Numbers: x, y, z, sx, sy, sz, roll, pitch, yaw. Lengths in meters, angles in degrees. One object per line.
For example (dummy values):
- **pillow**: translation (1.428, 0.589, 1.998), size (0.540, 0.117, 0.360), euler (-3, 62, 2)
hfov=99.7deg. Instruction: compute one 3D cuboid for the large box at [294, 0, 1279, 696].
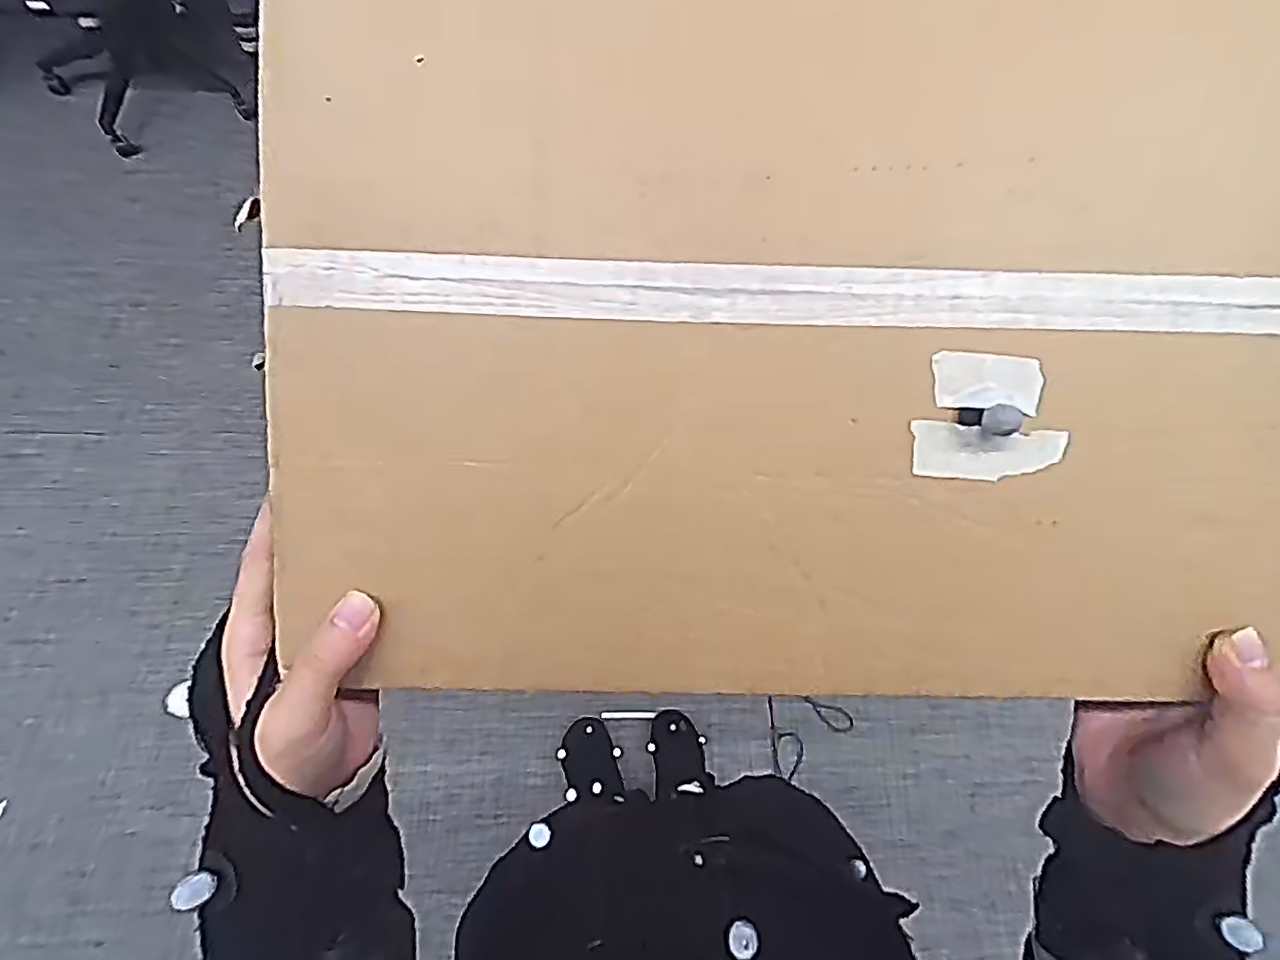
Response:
- **large box**: translation (0.059, -0.073, 0.365), size (0.408, 0.320, 0.320), euler (1, 94, -2)
